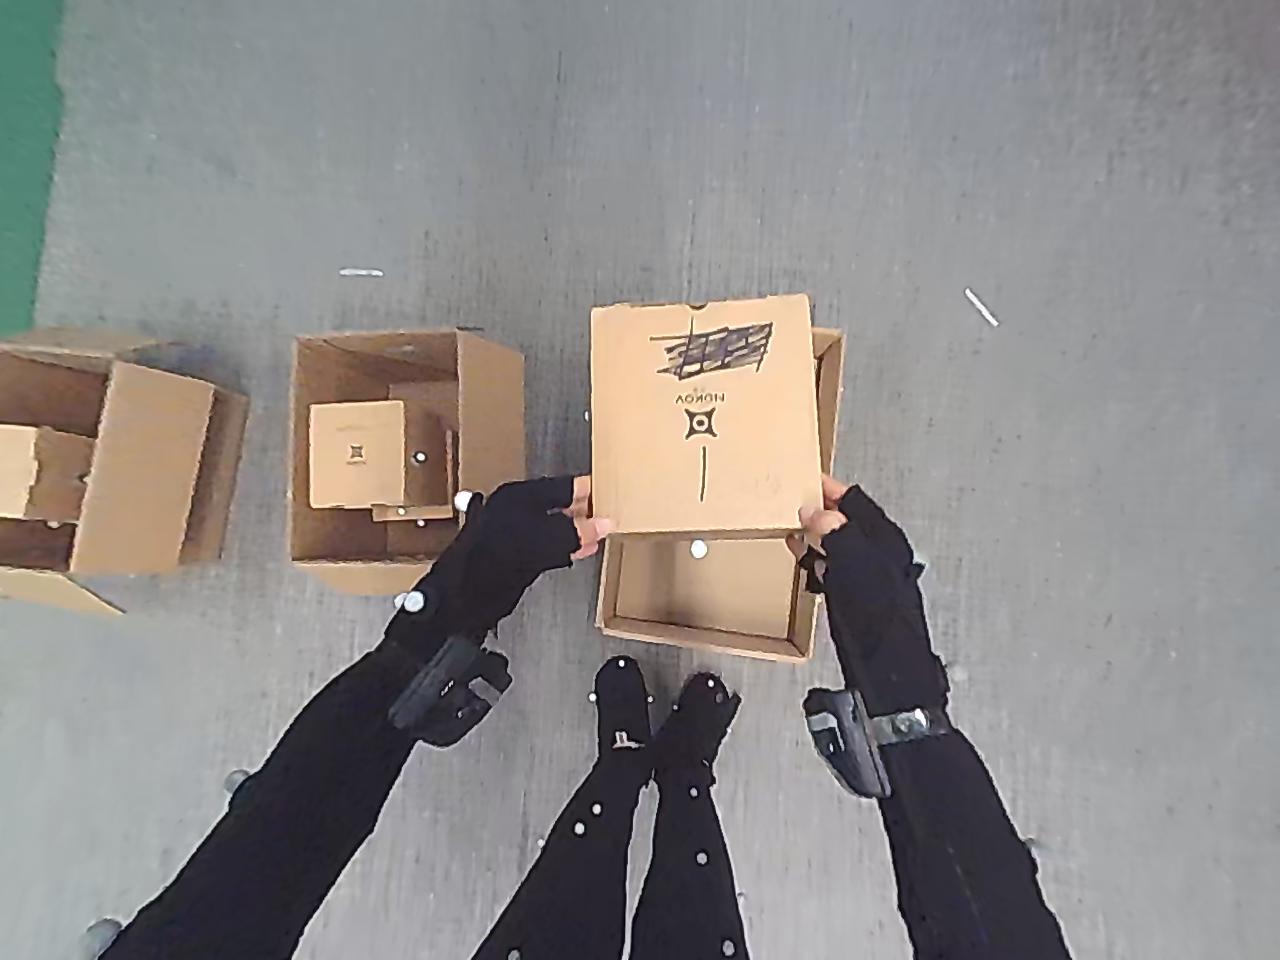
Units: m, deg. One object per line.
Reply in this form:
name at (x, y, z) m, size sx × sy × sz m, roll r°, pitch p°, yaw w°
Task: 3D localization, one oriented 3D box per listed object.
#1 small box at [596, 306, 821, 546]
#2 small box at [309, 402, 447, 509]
small box at (0.055, -0.033, 0.484) m, size 0.168 × 0.176 × 0.179 m, roll -2°, pitch 81°, yaw 6°
small box at (-0.461, -0.038, 0.973) m, size 0.168 × 0.176 × 0.179 m, roll -2°, pitch 87°, yaw 4°
